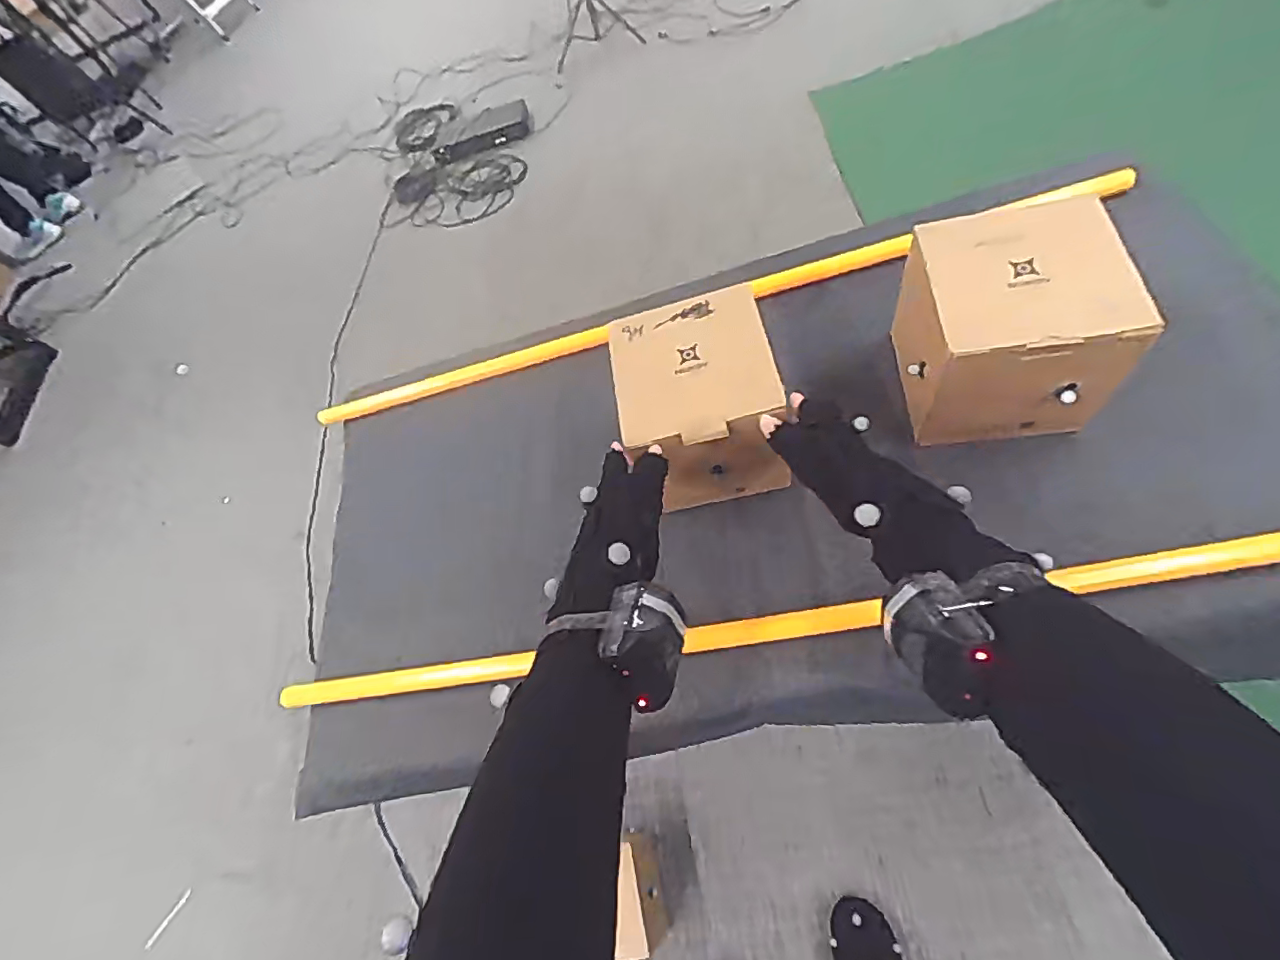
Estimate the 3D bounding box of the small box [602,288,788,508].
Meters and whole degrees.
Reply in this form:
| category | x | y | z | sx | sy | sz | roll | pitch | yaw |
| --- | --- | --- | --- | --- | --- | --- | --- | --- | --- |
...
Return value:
| category | x | y | z | sx | sy | sz | roll | pitch | yaw |
| --- | --- | --- | --- | --- | --- | --- | --- | --- | --- |
| small box | 0.069 | -0.082 | 0.637 | 0.168 | 0.176 | 0.179 | -17 | 59 | 10 |

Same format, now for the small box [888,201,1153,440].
| category | x | y | z | sx | sy | sz | roll | pitch | yaw |
| --- | --- | --- | --- | --- | --- | --- | --- | --- | --- |
| small box | 0.378 | -0.155 | 0.580 | 0.168 | 0.176 | 0.179 | -6 | 61 | 13 |
